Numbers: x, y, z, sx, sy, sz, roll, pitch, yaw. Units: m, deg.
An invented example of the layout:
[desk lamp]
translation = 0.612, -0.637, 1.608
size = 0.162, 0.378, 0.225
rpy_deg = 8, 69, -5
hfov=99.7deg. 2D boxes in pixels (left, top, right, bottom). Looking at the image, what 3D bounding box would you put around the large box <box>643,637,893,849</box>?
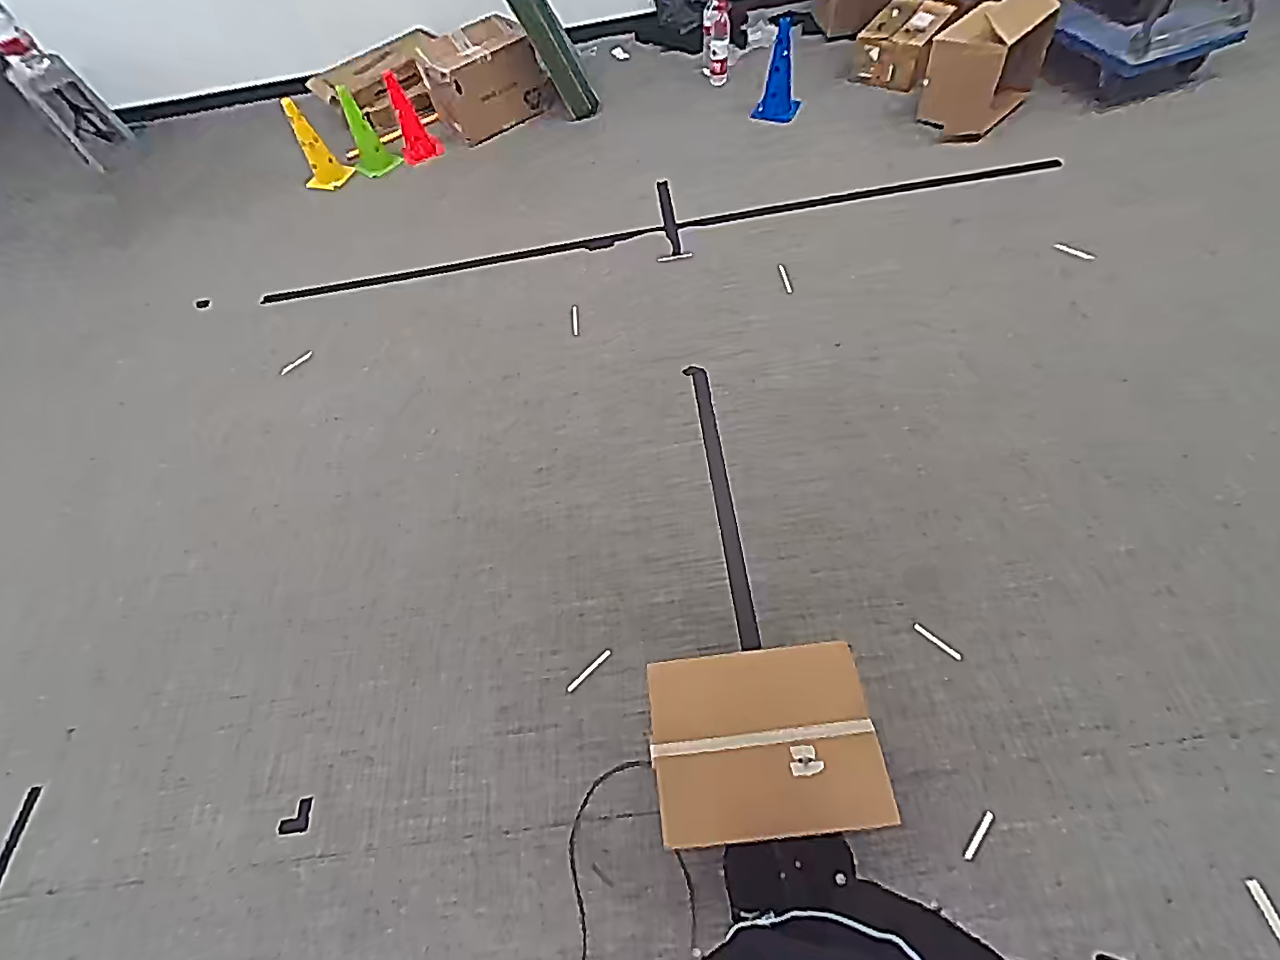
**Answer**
[large box]
translation = 0.231, 0.544, 1.123
size = 0.408, 0.320, 0.320
rpy_deg = -8, 61, 1
